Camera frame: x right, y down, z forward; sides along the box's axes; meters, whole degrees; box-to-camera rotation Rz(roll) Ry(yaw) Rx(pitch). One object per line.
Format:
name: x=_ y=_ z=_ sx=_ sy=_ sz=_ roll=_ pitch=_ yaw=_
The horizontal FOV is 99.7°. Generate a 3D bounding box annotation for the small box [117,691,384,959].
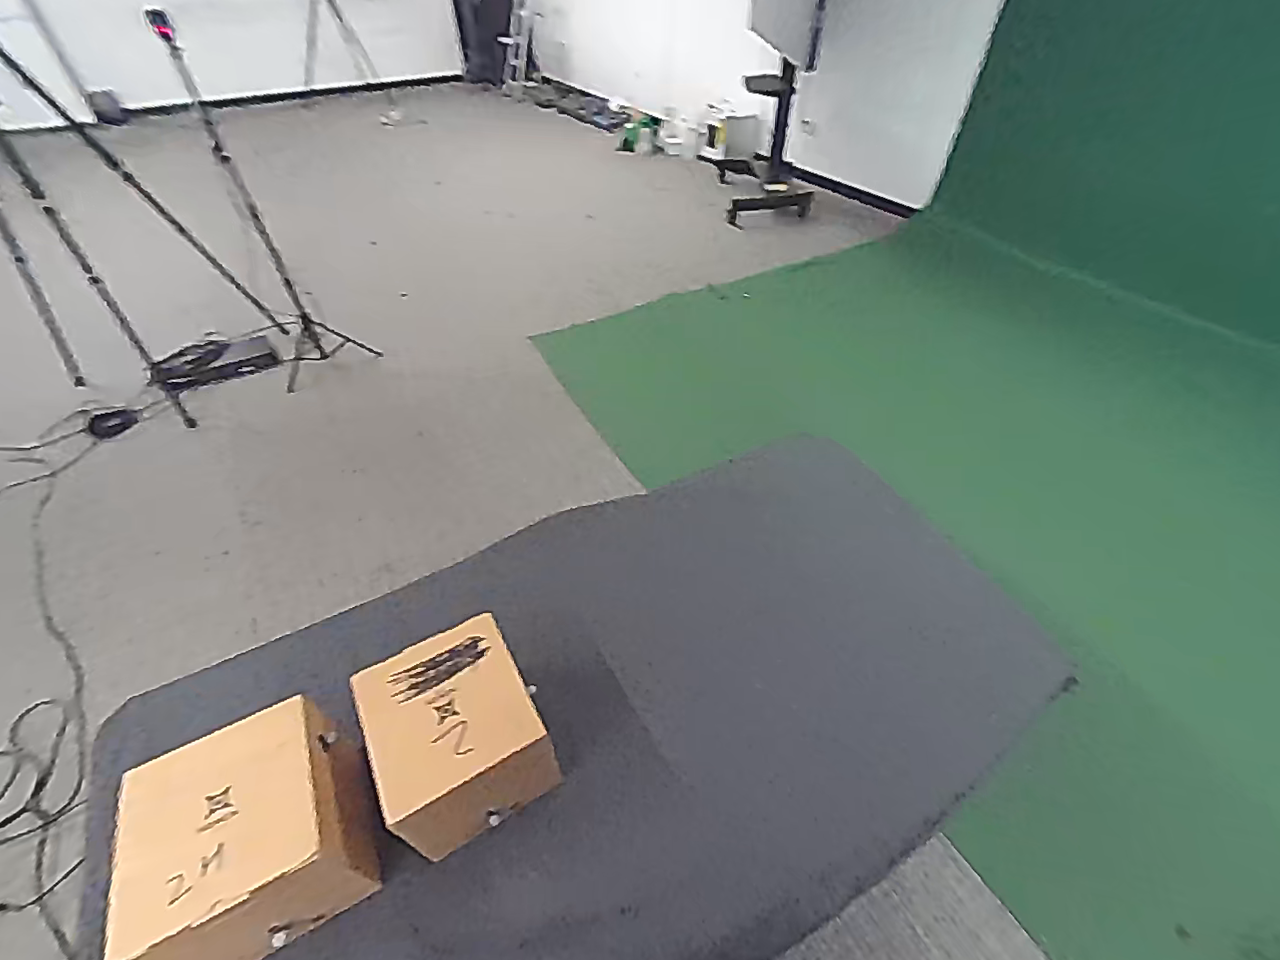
small box: x=-0.398 y=0.371 z=0.580 sx=0.168 sy=0.176 sz=0.179 roll=-22 pitch=49 yaw=-20
